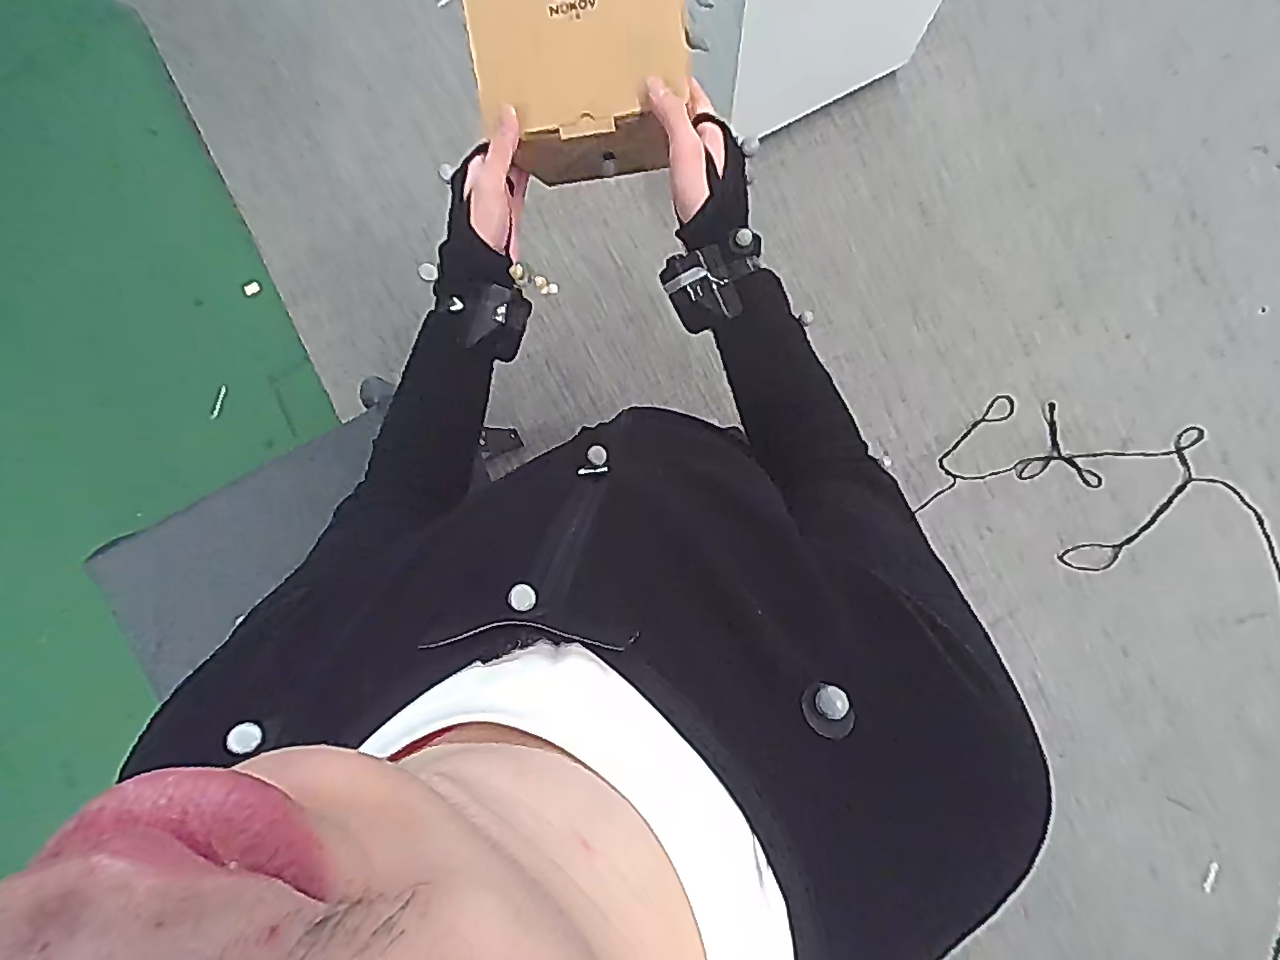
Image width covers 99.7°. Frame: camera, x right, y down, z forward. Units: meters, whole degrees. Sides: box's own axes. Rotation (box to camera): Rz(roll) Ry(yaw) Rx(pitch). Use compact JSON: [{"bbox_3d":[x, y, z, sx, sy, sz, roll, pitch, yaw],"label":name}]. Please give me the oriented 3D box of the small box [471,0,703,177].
[{"bbox_3d":[-0.036,-0.387,0.478,0.168,0.176,0.179,-6,106,10],"label":"small box"}]
